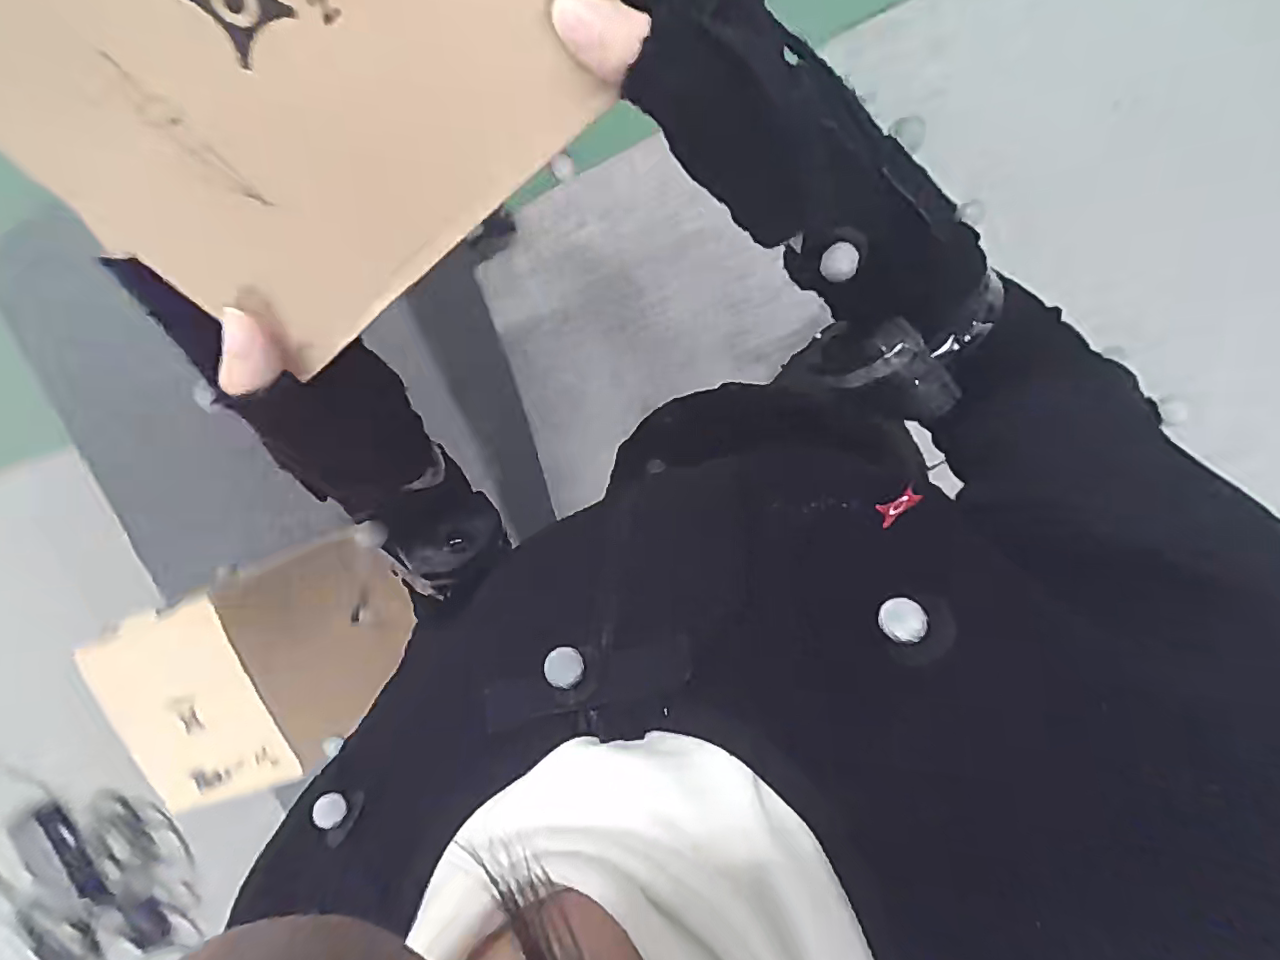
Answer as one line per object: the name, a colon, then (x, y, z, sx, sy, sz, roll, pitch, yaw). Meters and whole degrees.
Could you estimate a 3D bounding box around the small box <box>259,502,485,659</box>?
small box: (-0.341, 0.141, 0.715, 0.168, 0.176, 0.179, -24, 96, 15)

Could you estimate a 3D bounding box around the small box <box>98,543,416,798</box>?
small box: (-0.374, 0.179, 0.559, 0.168, 0.176, 0.179, -21, 97, 15)
